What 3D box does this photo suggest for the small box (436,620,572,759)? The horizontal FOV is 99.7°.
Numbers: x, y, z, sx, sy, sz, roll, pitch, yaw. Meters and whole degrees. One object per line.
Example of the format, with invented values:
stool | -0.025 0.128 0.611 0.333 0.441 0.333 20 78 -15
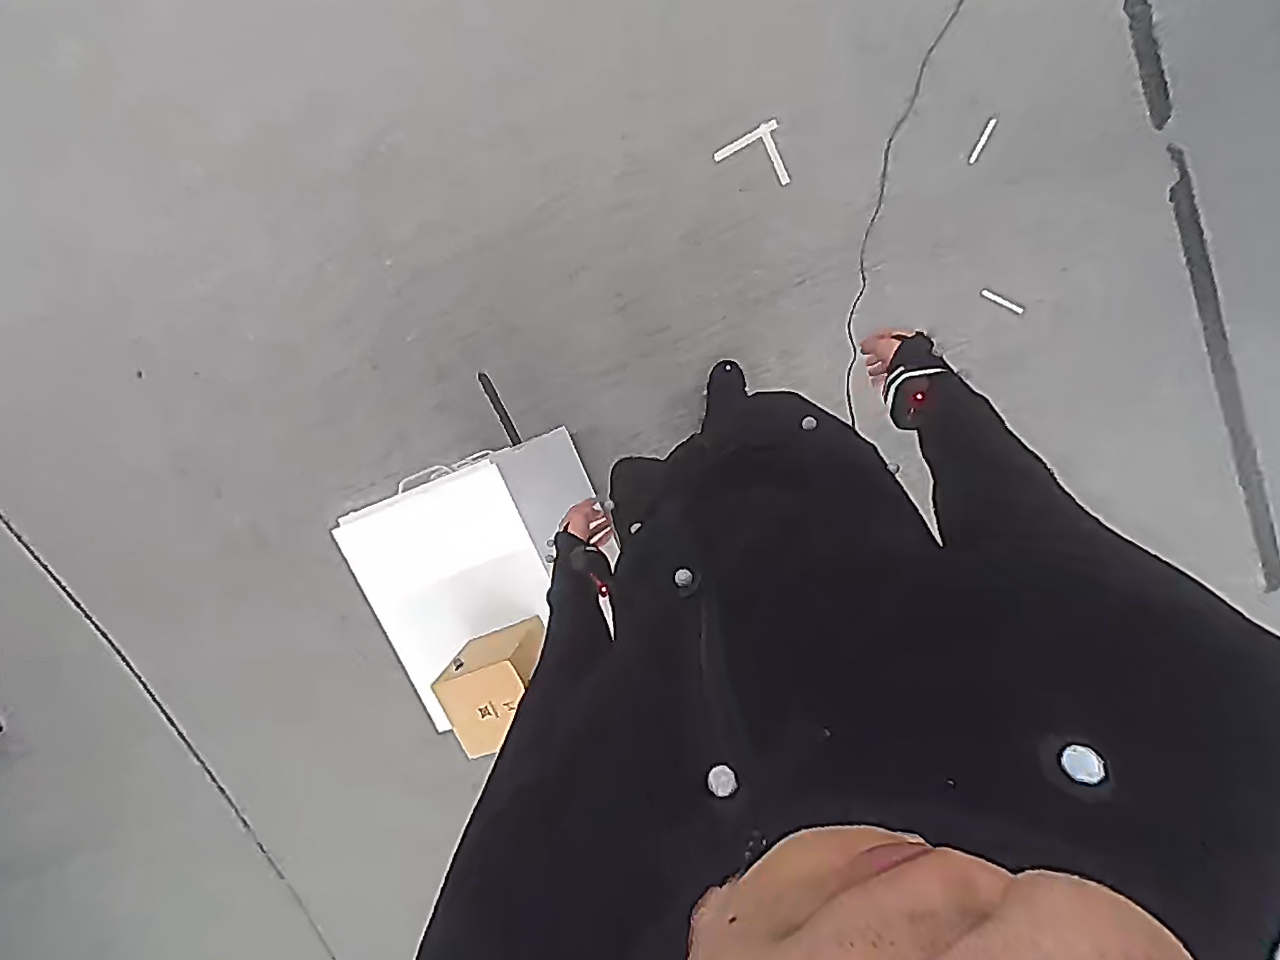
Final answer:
small box | -0.258 0.405 1.068 0.179 0.176 0.168 -22 100 12
